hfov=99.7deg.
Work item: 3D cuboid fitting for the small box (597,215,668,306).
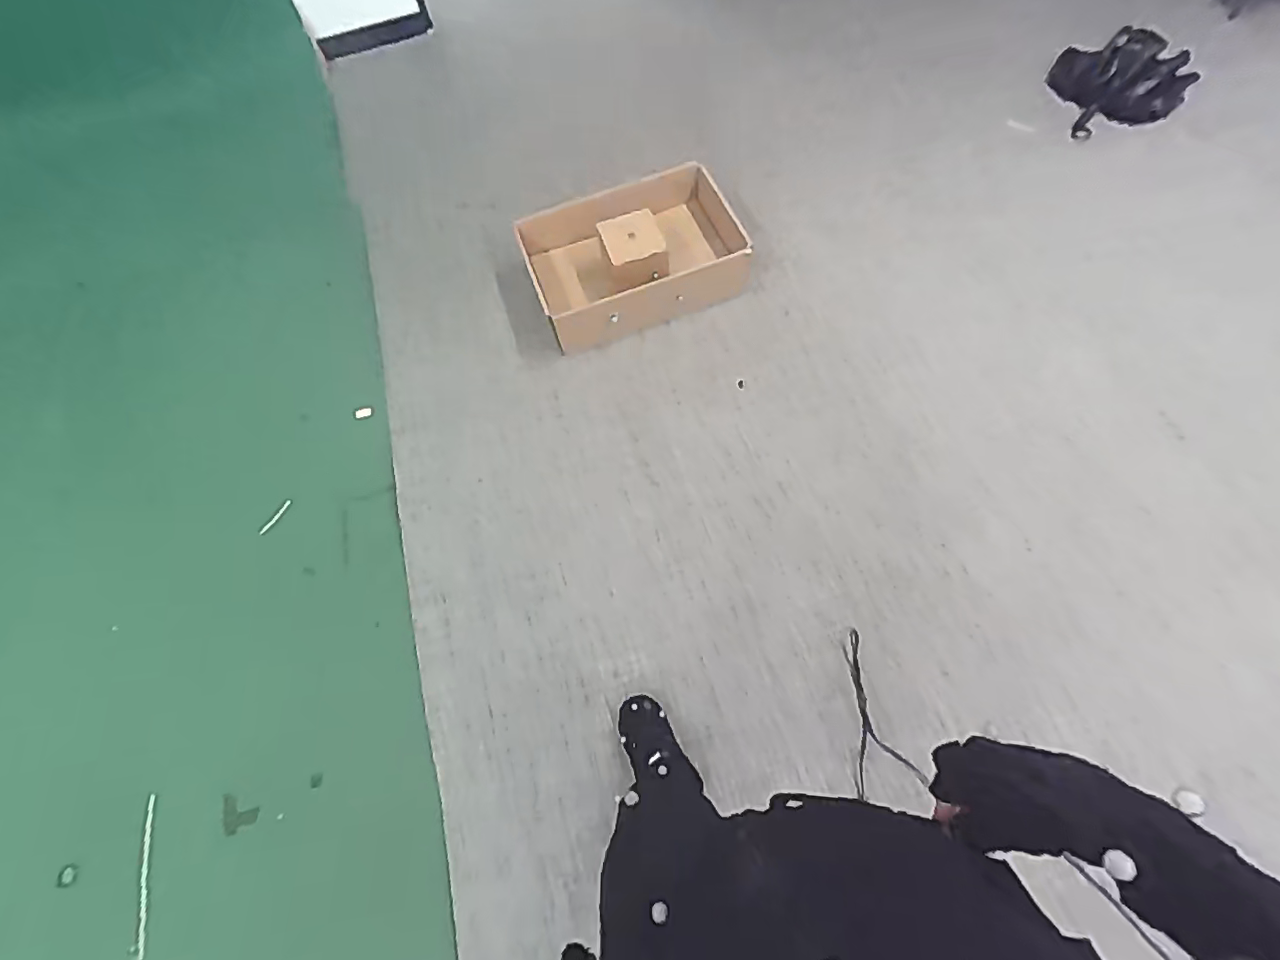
[{"bbox_3d":[-0.017,-0.646,1.615,0.168,0.176,0.179,-18,65,-5],"label":"small box"}]
